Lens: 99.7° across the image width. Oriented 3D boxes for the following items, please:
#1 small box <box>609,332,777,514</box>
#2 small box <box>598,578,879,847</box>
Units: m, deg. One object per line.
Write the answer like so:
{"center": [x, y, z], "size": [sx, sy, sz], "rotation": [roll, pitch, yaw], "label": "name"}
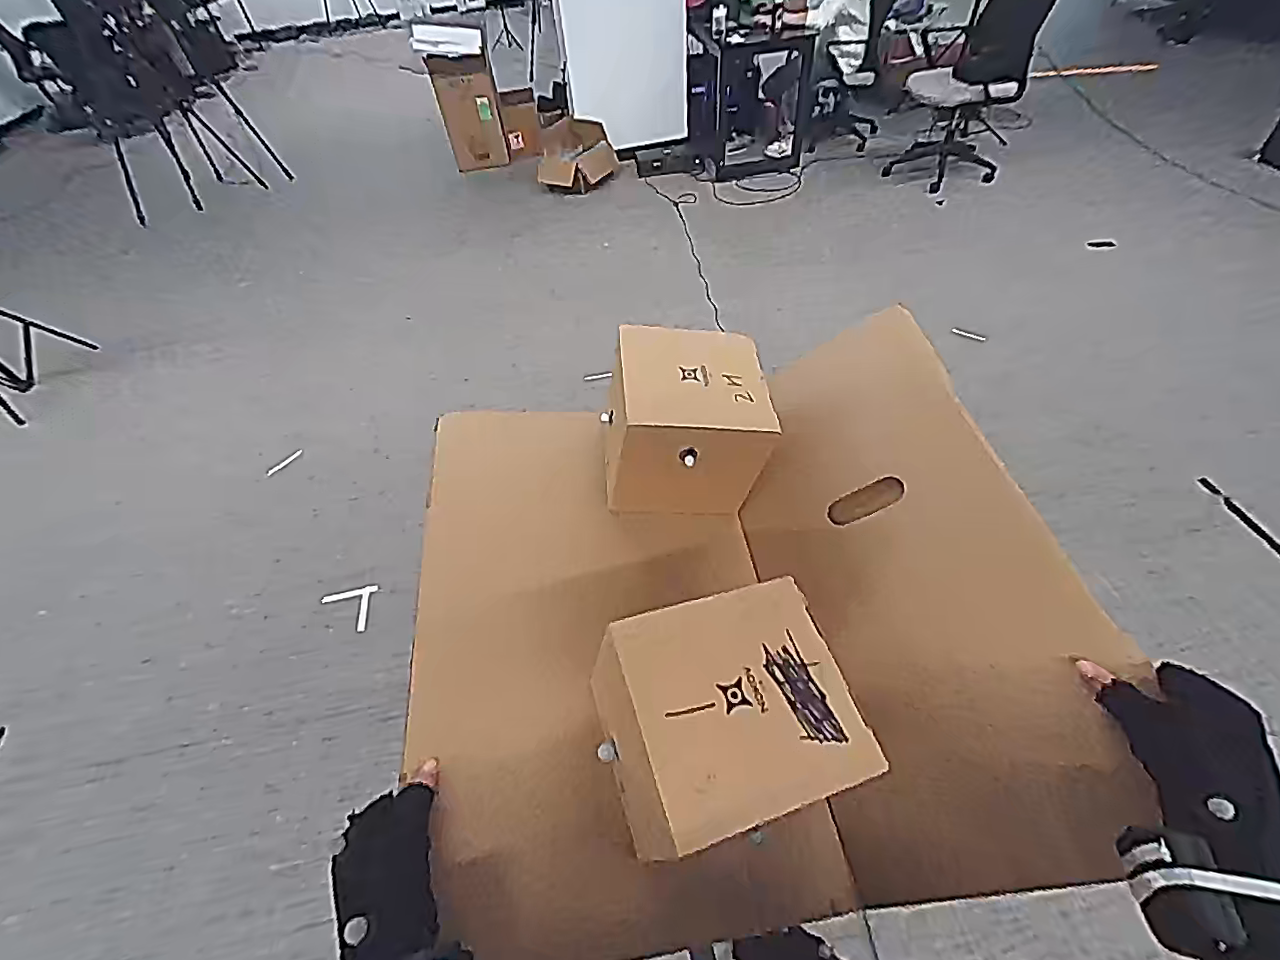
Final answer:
{"center": [0.053, -0.068, 0.704], "size": [0.179, 0.176, 0.168], "rotation": [3, 54, -10], "label": "small box"}
{"center": [0.070, 0.214, 0.497], "size": [0.179, 0.176, 0.168], "rotation": [-10, 57, -17], "label": "small box"}
